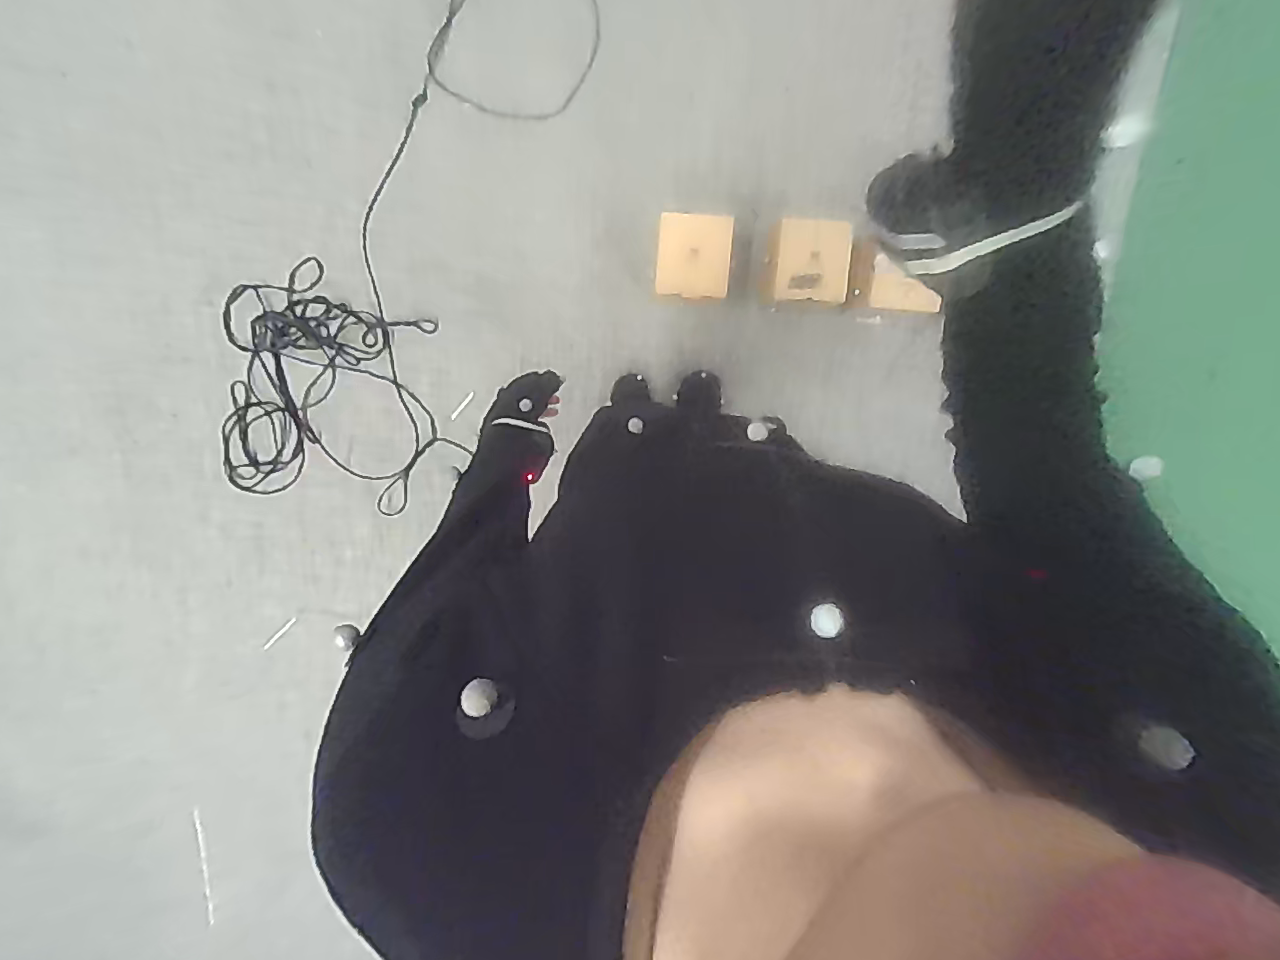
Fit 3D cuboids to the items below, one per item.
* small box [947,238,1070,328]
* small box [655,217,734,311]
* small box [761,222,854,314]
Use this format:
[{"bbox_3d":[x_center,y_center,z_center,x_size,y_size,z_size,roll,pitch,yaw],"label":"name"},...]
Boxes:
[{"bbox_3d":[0.869,-0.463,1.295,0.168,0.176,0.179,4,101,-1],"label":"small box"},{"bbox_3d":[0.124,-0.509,1.294,0.168,0.176,0.179,4,101,0],"label":"small box"},{"bbox_3d":[0.390,-0.497,1.290,0.168,0.176,0.179,3,100,0],"label":"small box"}]
